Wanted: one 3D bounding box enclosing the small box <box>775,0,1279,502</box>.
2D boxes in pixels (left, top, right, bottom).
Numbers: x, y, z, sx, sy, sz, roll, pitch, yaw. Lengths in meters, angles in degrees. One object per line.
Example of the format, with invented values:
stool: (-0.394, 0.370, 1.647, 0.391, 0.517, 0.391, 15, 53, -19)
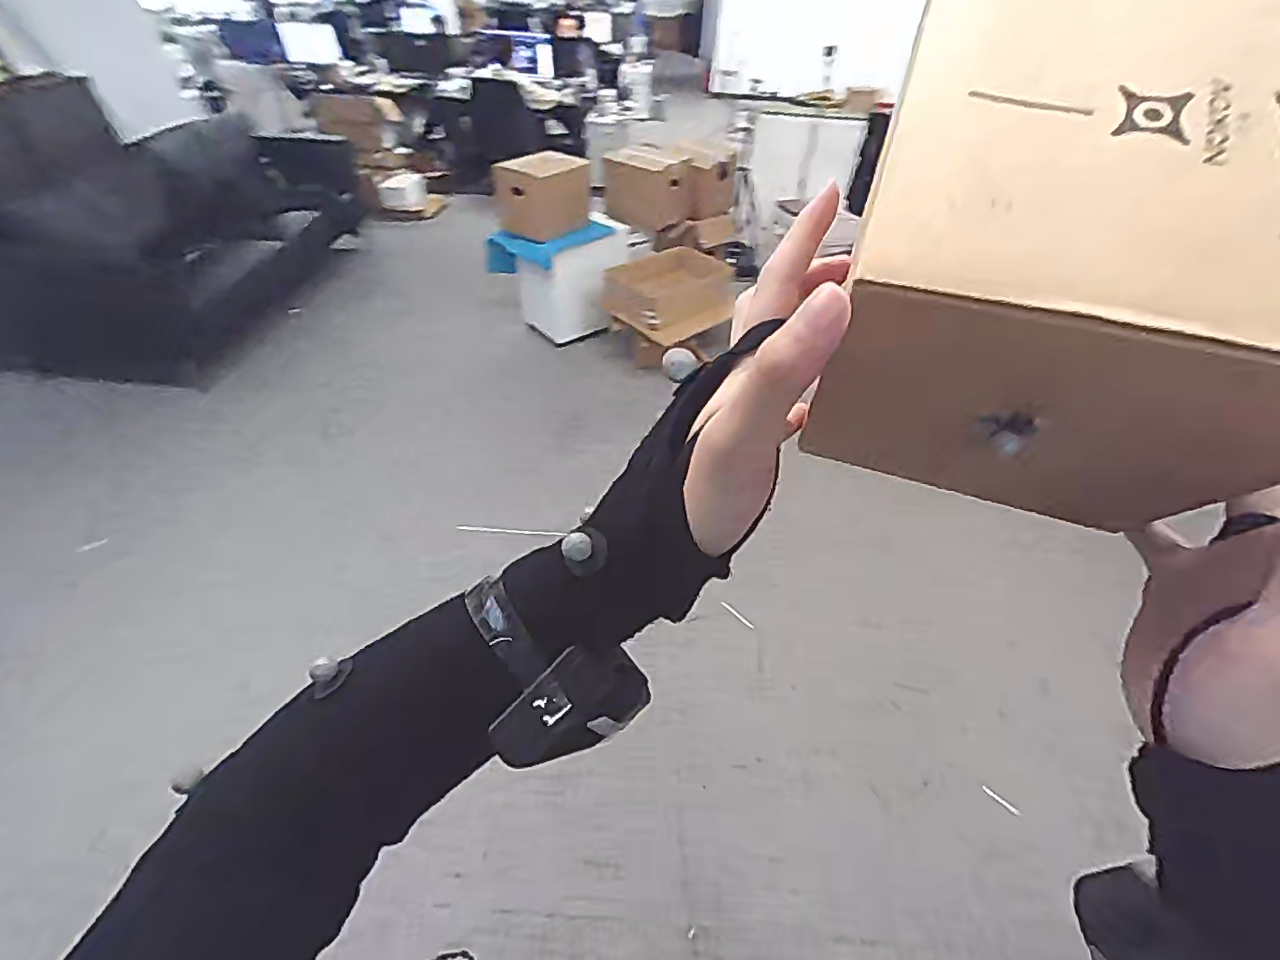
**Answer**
small box: (0.177, -0.099, 0.268, 0.179, 0.176, 0.168, 15, 76, 15)
